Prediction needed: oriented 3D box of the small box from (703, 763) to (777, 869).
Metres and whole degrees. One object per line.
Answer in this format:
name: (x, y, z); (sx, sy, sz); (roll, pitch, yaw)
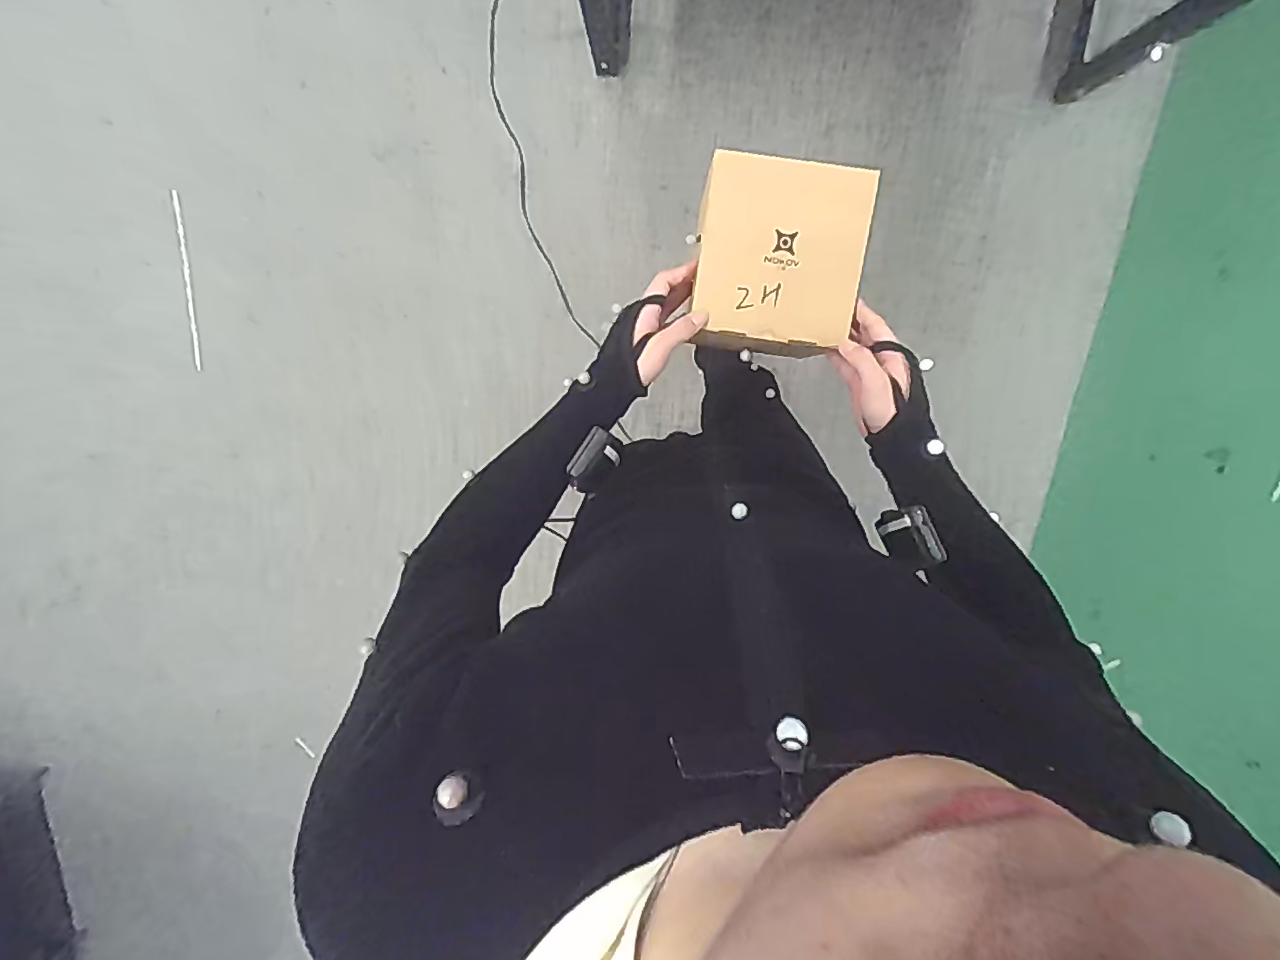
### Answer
small box: (0.278, 0.953, 1.543); (0.168, 0.176, 0.179); (10, 105, 0)

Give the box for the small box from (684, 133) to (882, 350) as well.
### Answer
small box: (0.144, -0.252, 0.614); (0.168, 0.176, 0.179); (8, 100, 0)
